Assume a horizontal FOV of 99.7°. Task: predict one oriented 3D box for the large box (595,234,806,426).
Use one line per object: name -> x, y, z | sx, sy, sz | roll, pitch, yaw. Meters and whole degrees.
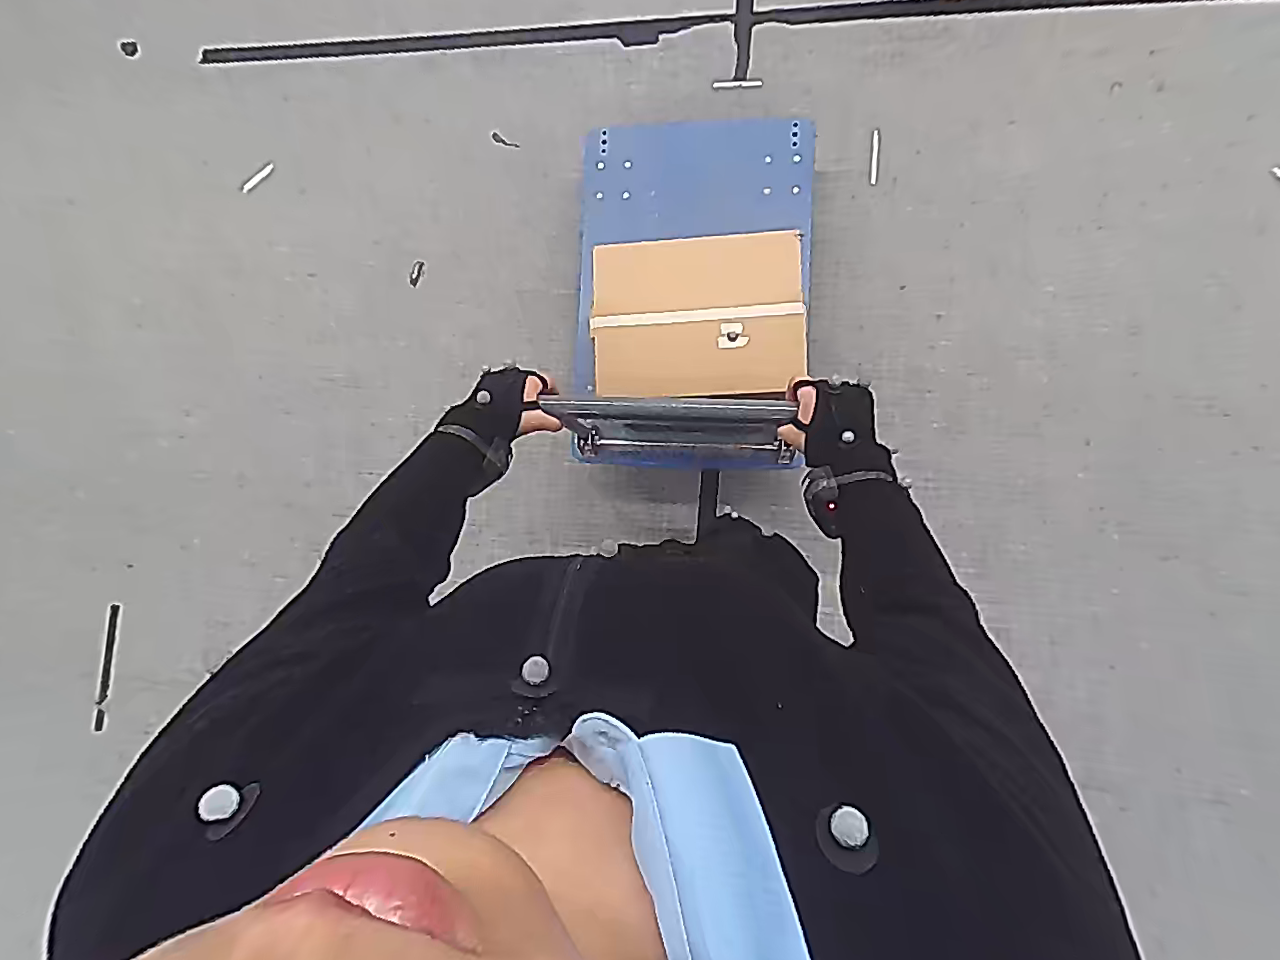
large box -> 0.126, -0.305, 1.200 | 0.408, 0.320, 0.320 | -2, 87, 5
